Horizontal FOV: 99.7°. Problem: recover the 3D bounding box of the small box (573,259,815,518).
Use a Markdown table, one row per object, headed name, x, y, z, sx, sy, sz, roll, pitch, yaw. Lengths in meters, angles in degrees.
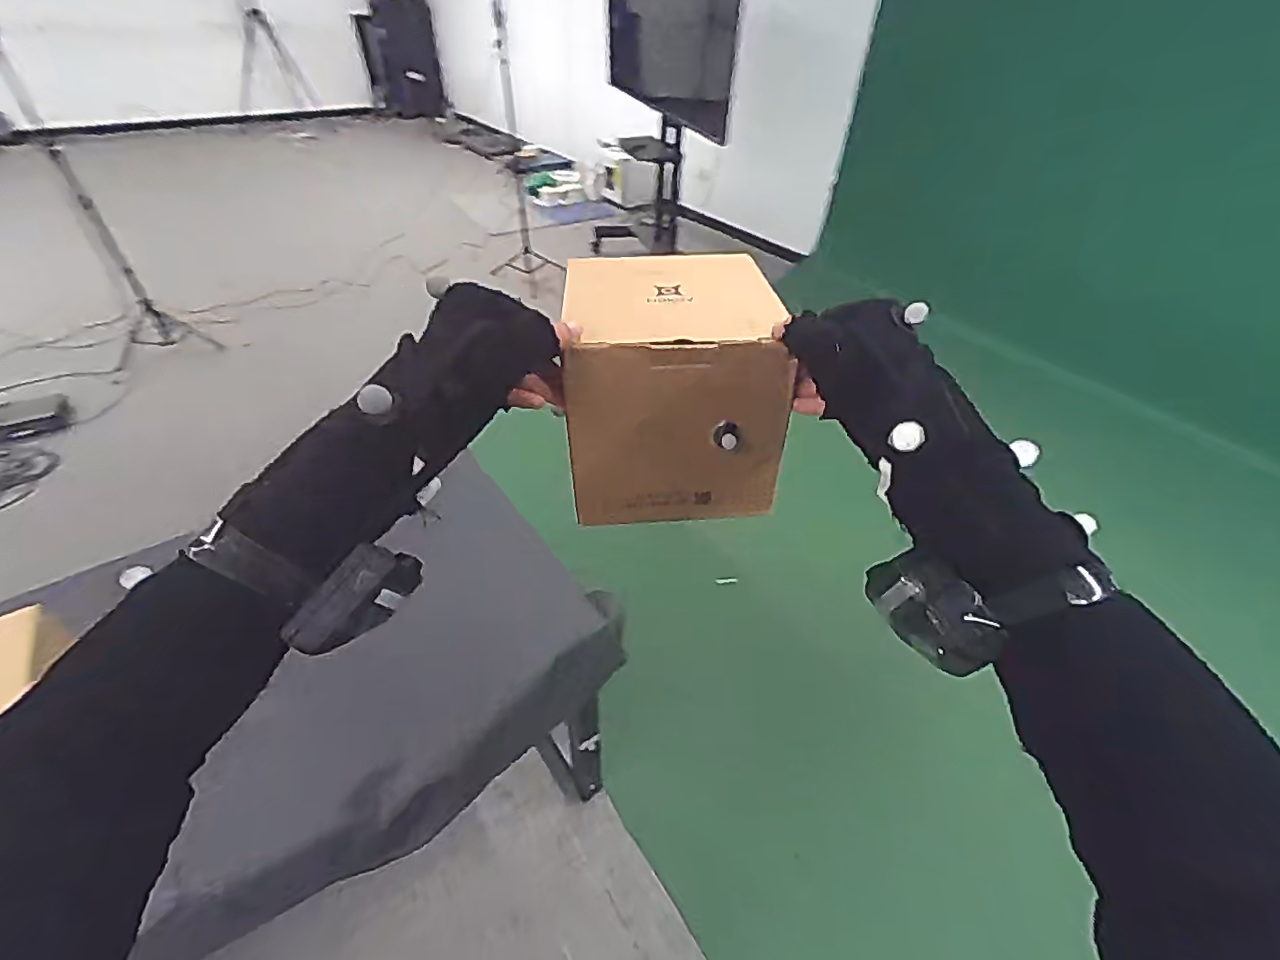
| name | x | y | z | sx | sy | sz | roll | pitch | yaw |
| --- | --- | --- | --- | --- | --- | --- | --- | --- | --- |
| small box | 0.034 | -0.079 | 0.471 | 0.168 | 0.176 | 0.179 | -2 | 38 | -3 |
